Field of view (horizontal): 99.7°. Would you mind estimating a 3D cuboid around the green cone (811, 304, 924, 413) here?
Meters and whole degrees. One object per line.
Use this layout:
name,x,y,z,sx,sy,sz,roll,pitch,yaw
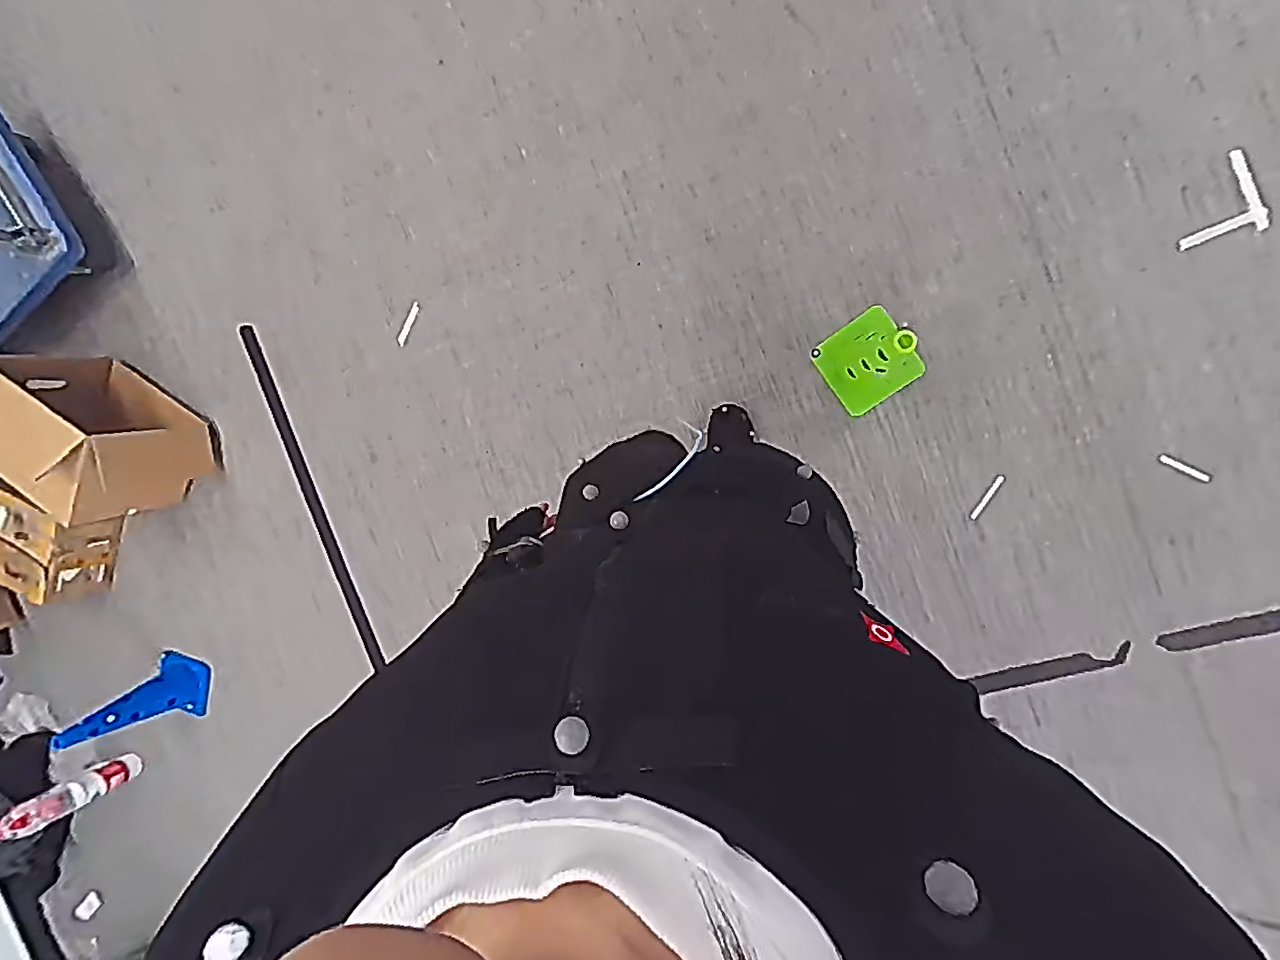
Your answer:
green cone,0.510,-0.270,1.127,0.202,0.368,0.200,-36,89,12
